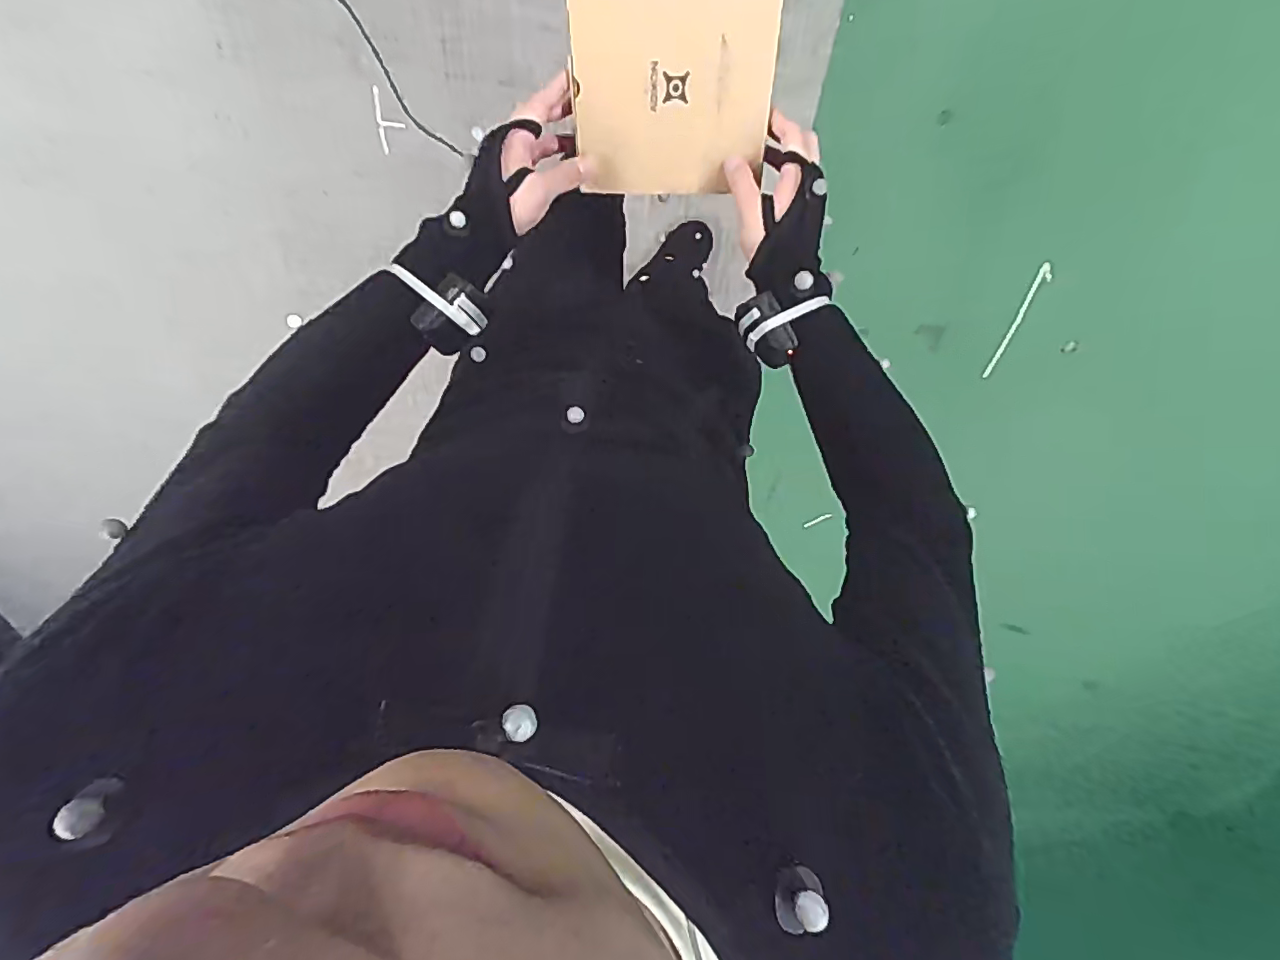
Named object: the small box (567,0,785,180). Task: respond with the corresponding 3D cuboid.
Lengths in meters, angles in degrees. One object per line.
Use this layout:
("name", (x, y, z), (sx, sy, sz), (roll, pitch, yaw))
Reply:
("small box", (0.031, -0.399, 0.519), (0.179, 0.176, 0.168), (3, 130, 0))
